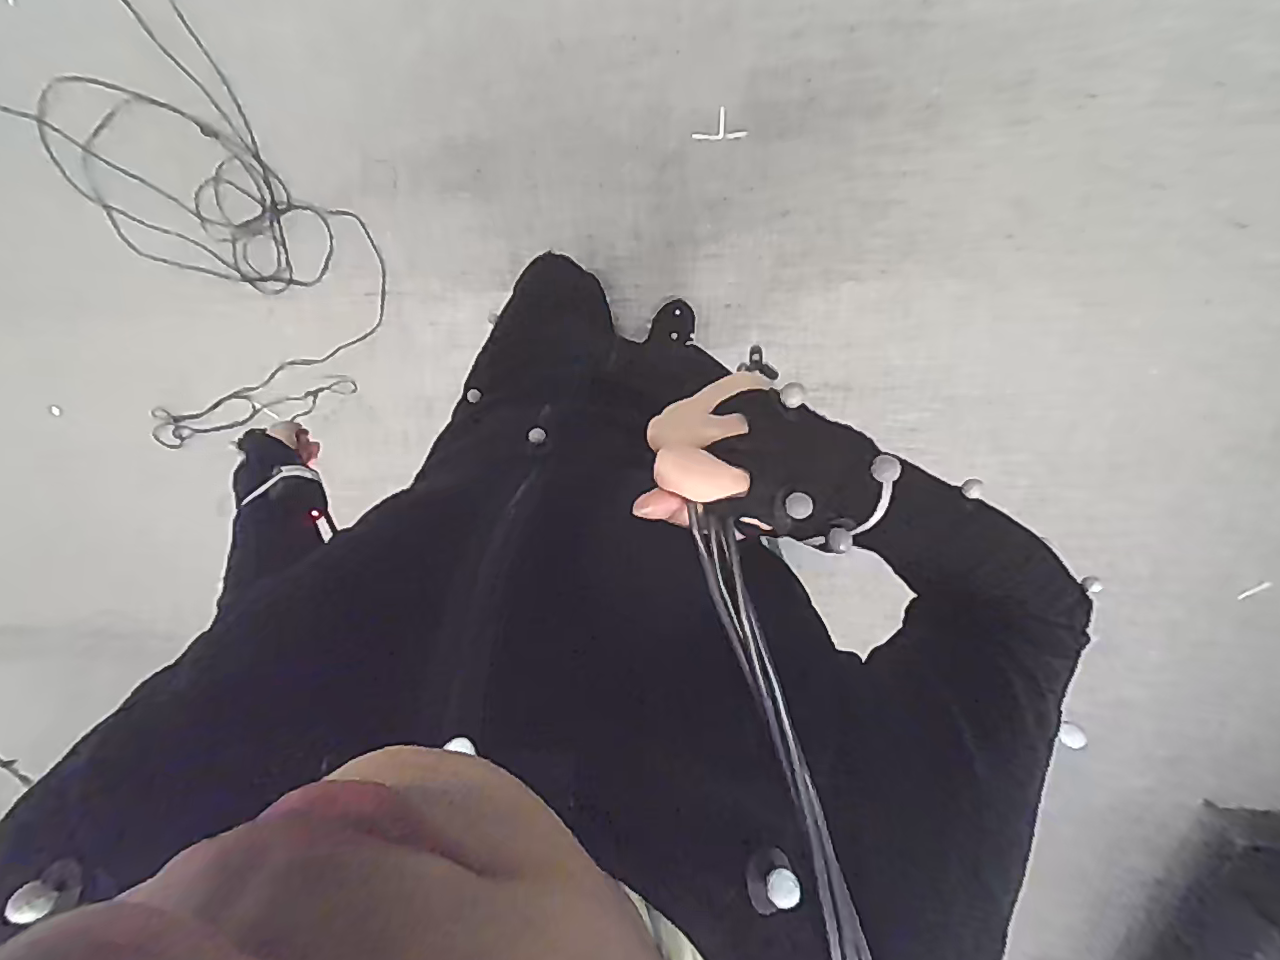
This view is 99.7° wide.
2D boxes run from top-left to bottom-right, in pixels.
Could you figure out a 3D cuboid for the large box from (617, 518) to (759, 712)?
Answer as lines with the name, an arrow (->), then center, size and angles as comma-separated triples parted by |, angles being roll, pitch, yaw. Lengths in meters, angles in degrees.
large box -> 0.119, 0.361, 1.496 | 0.320, 0.320, 0.408 | 9, 115, 1
